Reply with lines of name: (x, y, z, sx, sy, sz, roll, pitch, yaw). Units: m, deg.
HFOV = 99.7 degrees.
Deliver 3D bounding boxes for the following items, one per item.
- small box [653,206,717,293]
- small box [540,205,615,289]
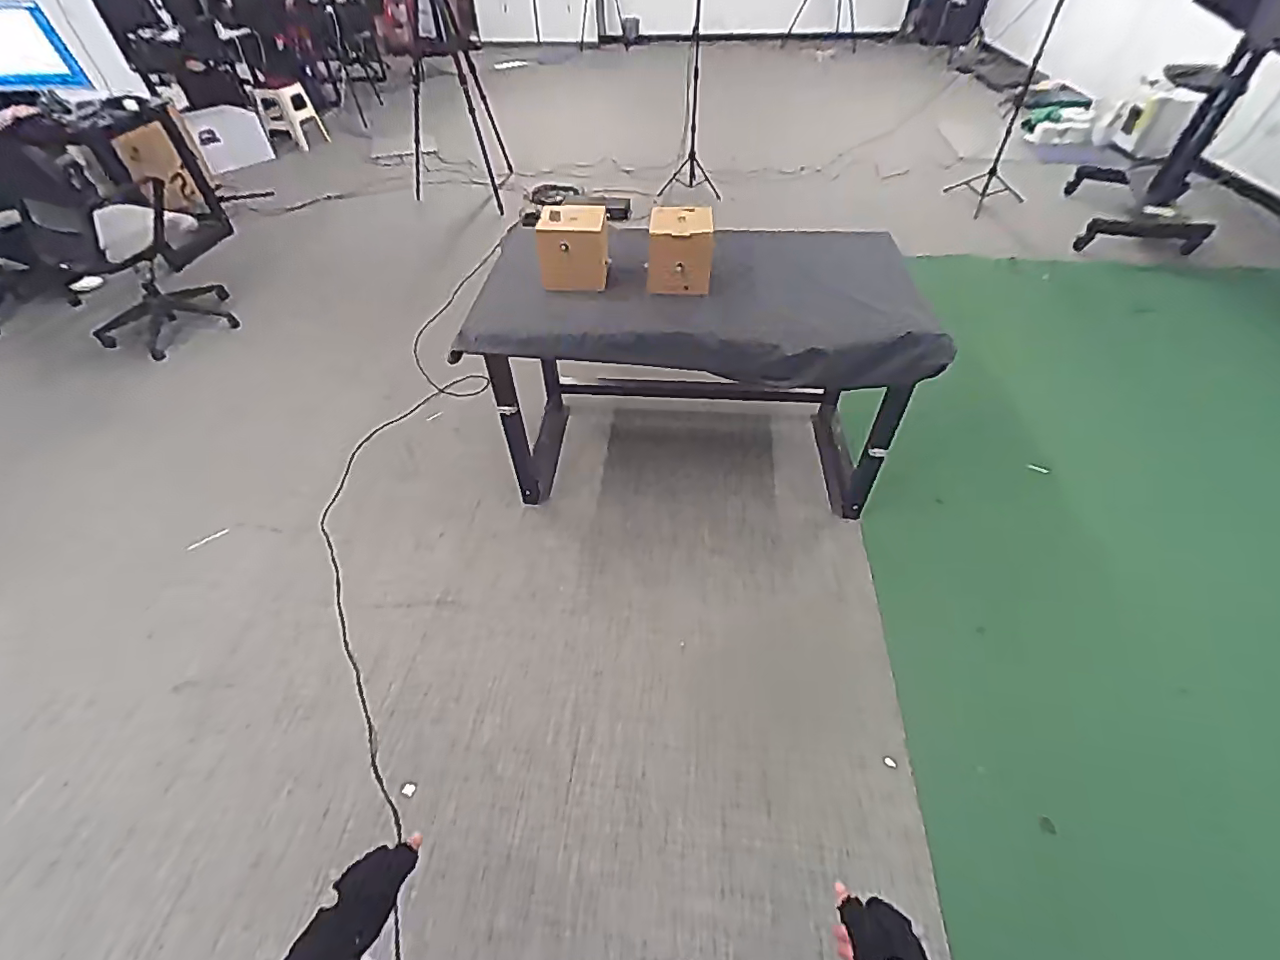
small box: (0.125, -0.629, 1.480, 0.168, 0.176, 0.179, 3, 48, 4)
small box: (-0.167, -0.645, 1.502, 0.179, 0.176, 0.168, 2, 47, 2)
